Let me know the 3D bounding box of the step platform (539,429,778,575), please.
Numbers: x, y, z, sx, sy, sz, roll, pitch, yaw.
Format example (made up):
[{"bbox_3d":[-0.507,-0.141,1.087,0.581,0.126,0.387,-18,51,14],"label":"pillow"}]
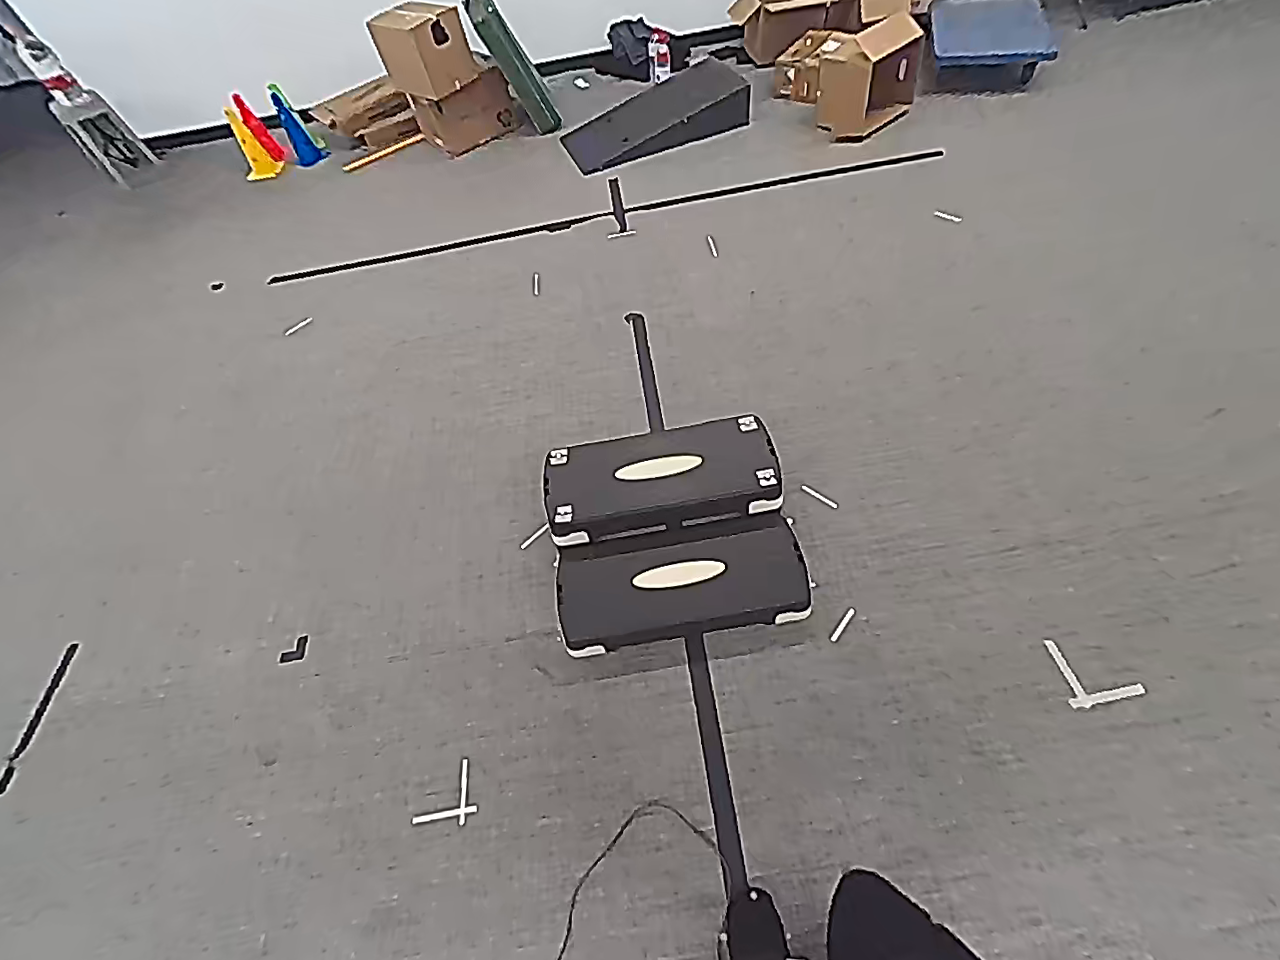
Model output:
[{"bbox_3d":[0.050,0.059,1.590,0.684,0.204,0.286,-11,55,0],"label":"step platform"}]
